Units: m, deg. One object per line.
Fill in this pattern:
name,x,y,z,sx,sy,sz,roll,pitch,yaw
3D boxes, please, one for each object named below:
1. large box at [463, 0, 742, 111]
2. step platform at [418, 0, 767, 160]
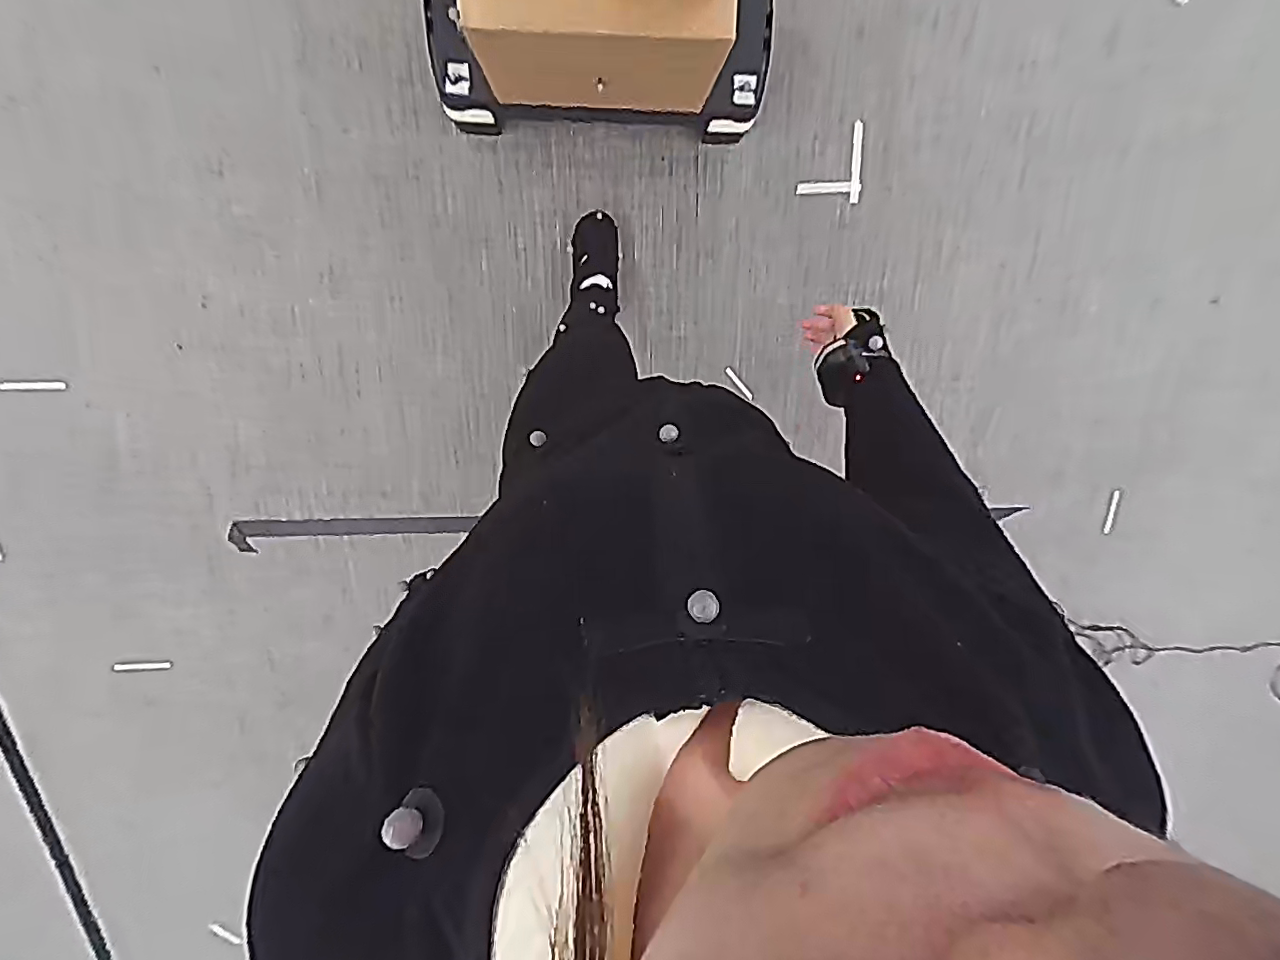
large box,-0.057,-0.827,0.880,0.408,0.320,0.320,0,106,-3
step platform,-0.089,-0.880,1.111,0.684,0.204,0.286,5,107,-4
